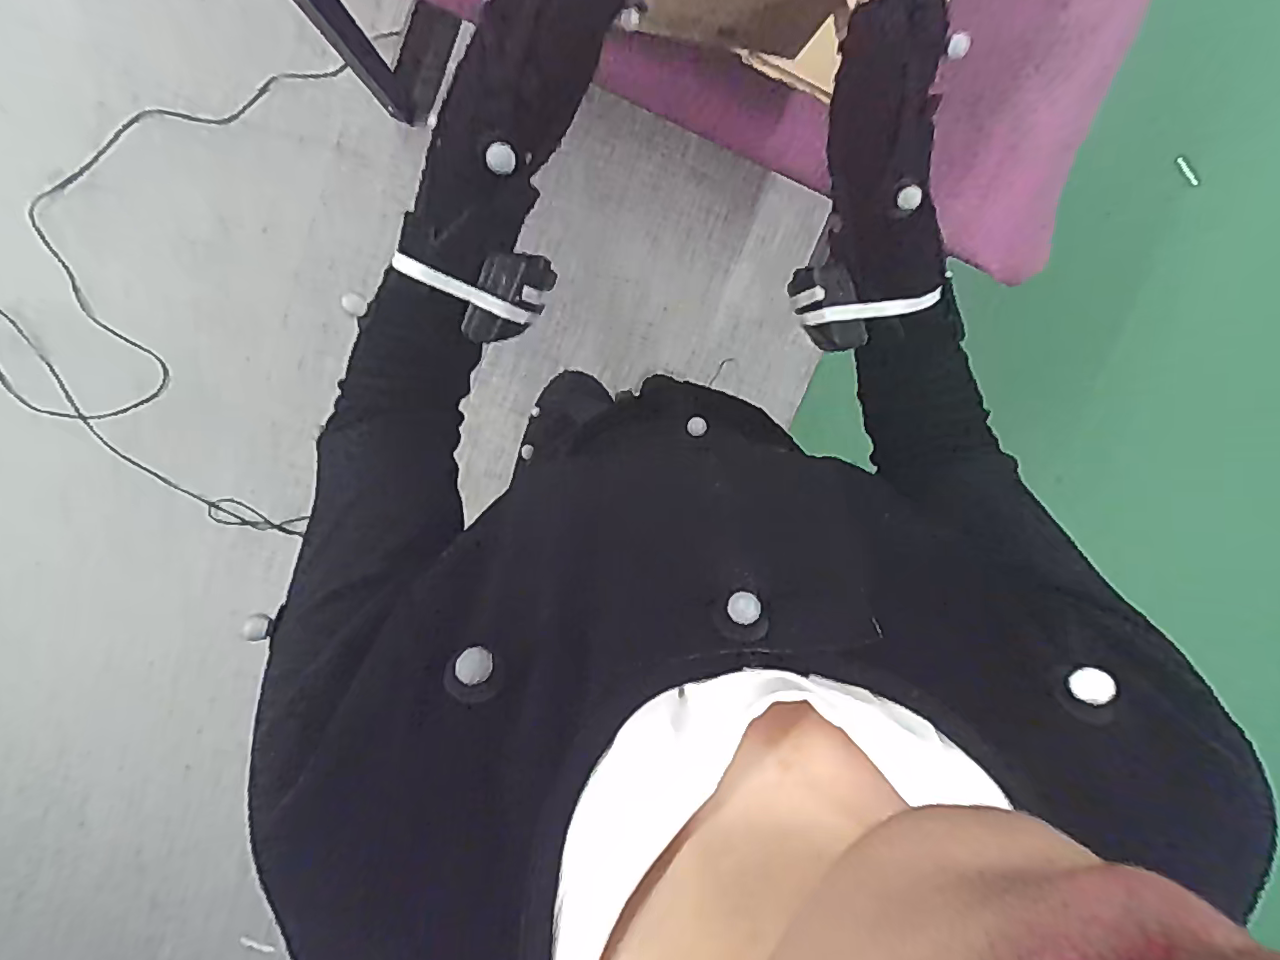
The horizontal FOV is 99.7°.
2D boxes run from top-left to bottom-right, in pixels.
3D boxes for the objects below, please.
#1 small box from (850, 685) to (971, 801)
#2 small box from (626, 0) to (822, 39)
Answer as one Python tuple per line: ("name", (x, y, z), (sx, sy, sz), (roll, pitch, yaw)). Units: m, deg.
("small box", (0.660, 0.641, 1.338), (0.179, 0.176, 0.168), (23, 98, -4))
("small box", (0.060, -0.402, 0.309), (0.168, 0.176, 0.179), (4, 104, -9))
